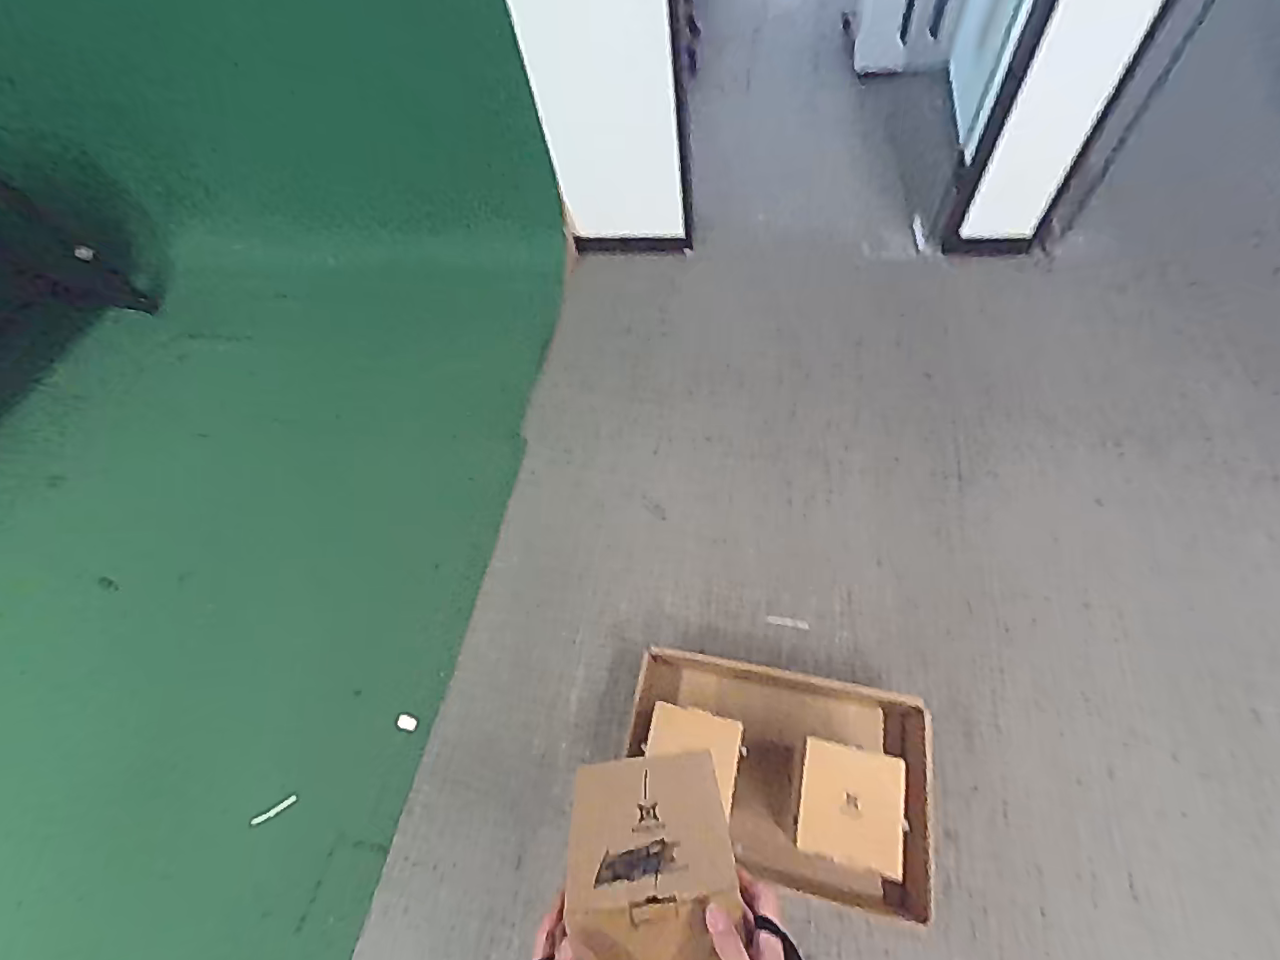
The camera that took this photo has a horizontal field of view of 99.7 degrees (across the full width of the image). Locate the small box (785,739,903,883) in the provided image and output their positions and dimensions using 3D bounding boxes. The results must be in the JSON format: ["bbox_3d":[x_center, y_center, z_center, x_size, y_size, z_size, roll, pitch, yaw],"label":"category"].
[{"bbox_3d":[0.362,0.586,0.977,0.168,0.176,0.179,9,64,13],"label":"small box"}]

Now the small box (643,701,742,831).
[{"bbox_3d":[0.095,0.544,1.036,0.168,0.176,0.179,10,64,13],"label":"small box"}]

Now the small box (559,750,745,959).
[{"bbox_3d":[0.014,0.433,0.583,0.168,0.176,0.179,-8,17,-1],"label":"small box"}]
